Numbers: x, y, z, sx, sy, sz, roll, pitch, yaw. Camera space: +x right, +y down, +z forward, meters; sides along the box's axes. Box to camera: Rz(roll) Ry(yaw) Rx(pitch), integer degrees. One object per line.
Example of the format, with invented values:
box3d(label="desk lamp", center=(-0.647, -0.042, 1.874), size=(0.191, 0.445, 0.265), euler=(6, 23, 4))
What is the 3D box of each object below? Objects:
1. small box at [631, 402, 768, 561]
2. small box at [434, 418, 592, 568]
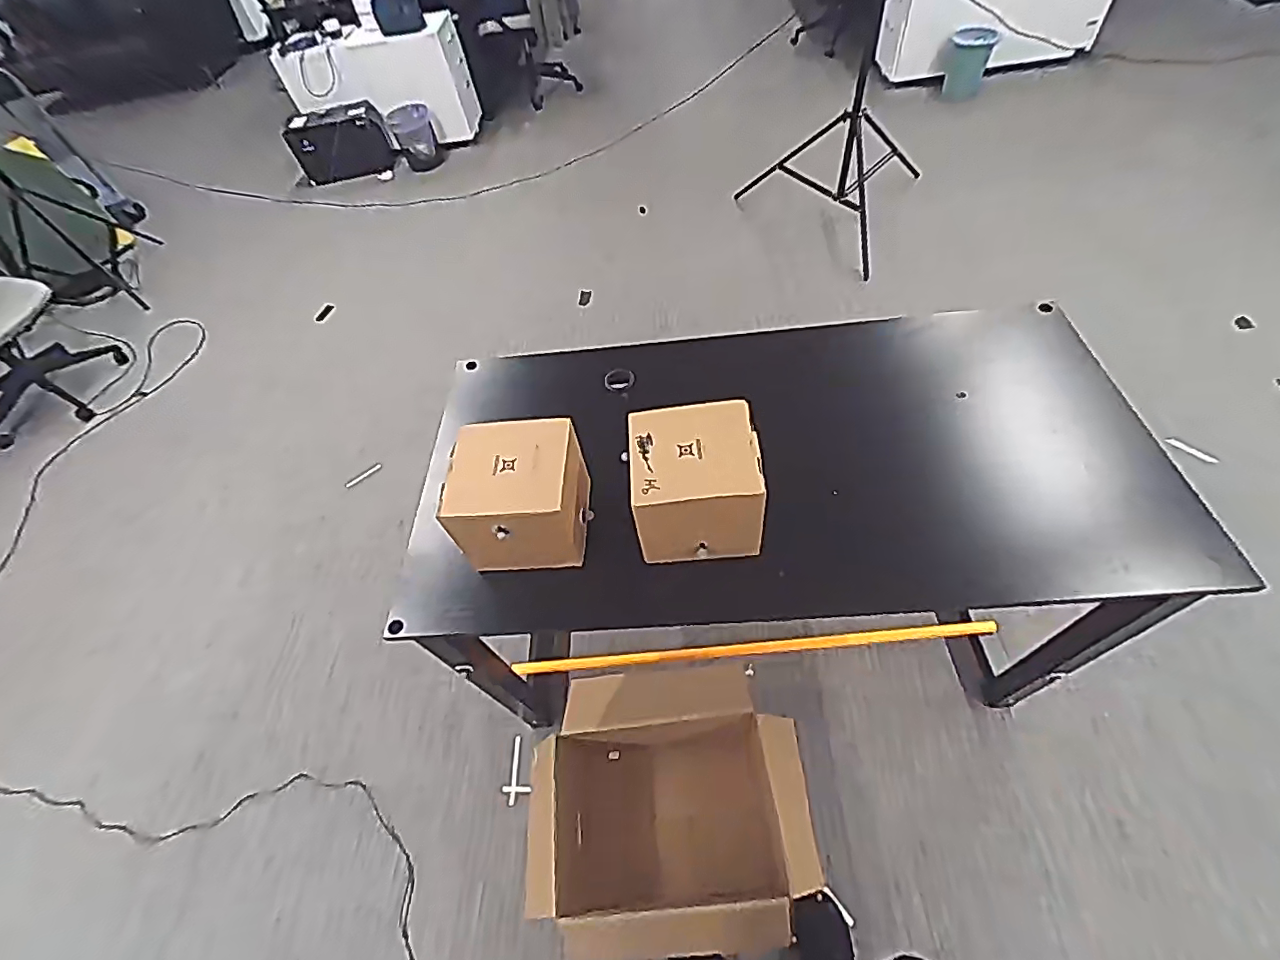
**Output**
box3d(label="small box", center=(0.082, 0.007, 0.800), size=(0.179, 0.176, 0.168), euler=(-5, 54, 4))
box3d(label="small box", center=(-0.179, 0.026, 0.823), size=(0.179, 0.176, 0.168), euler=(-2, 55, 5))
